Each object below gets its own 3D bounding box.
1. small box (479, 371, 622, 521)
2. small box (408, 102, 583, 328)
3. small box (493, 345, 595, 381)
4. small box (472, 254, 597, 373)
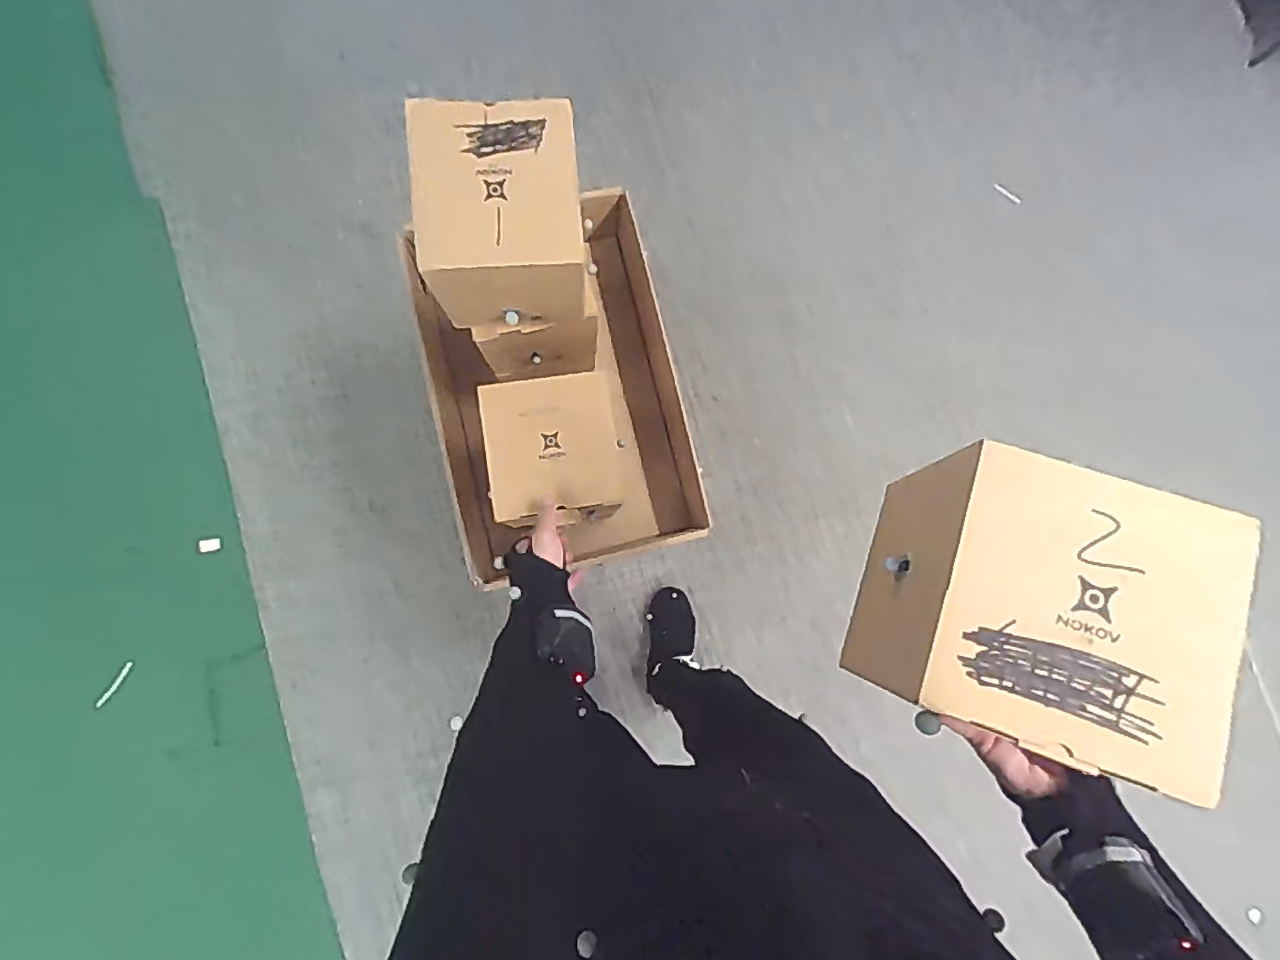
[{"bbox_3d":[-0.119,-0.037,0.761,0.168,0.176,0.179,-8,84,-7],"label":"small box"},{"bbox_3d":[-0.154,-0.292,0.623,0.168,0.176,0.179,-5,87,-6],"label":"small box"},{"bbox_3d":[-0.177,-0.265,0.946,0.168,0.176,0.179,-13,88,-5],"label":"small box"},{"bbox_3d":[-0.164,-0.275,0.786,0.168,0.176,0.179,-14,88,-7],"label":"small box"}]
